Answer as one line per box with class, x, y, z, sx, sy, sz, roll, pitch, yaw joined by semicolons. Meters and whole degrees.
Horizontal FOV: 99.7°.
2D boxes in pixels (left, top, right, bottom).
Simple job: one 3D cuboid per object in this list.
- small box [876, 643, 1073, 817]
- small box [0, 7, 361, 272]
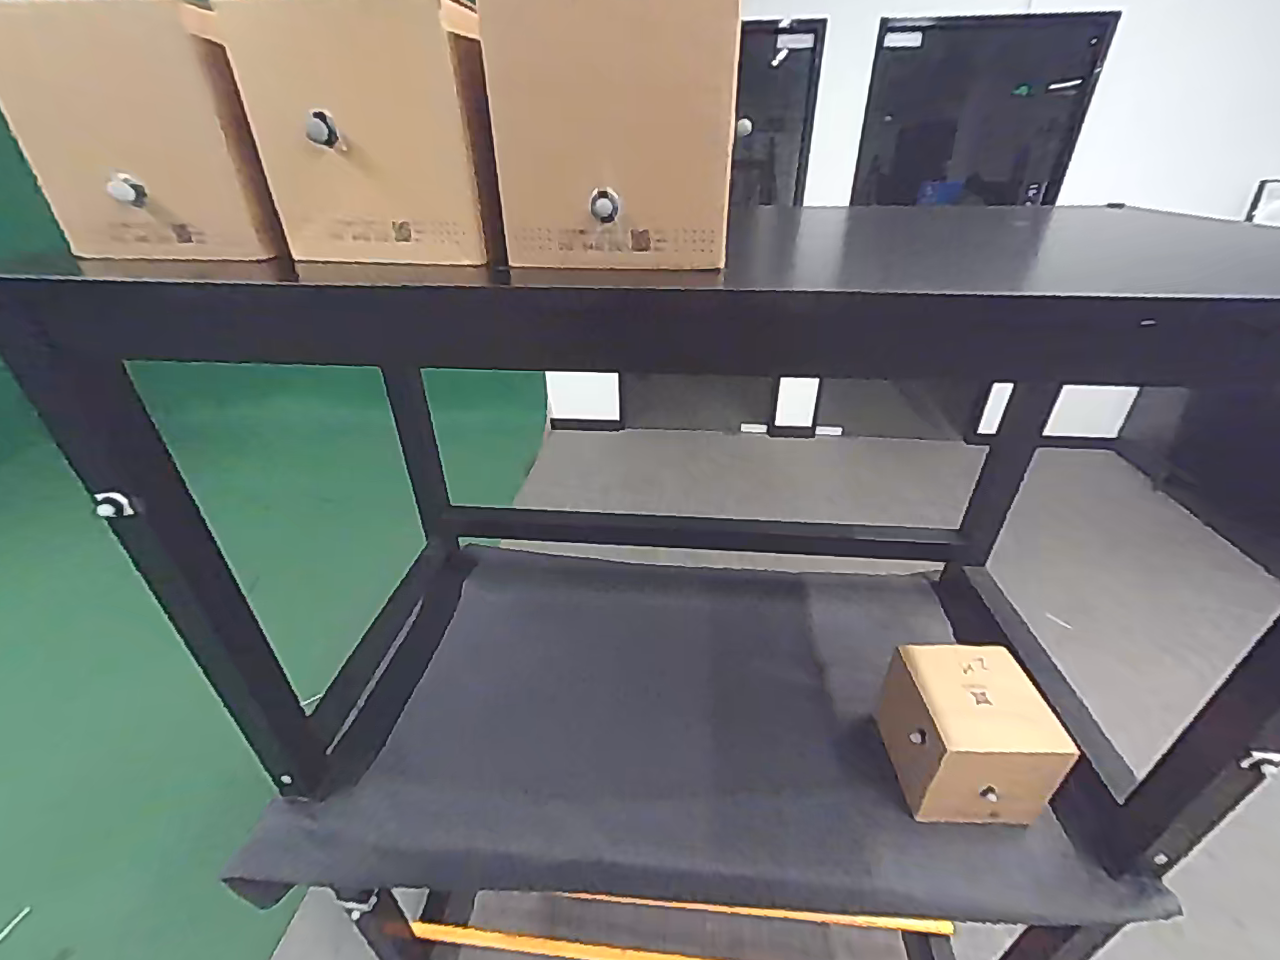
small box;0.470;0.364;0.794;0.168;0.176;0.179;1;31;1
small box;-0.376;-0.292;0.479;0.168;0.176;0.179;2;33;3
